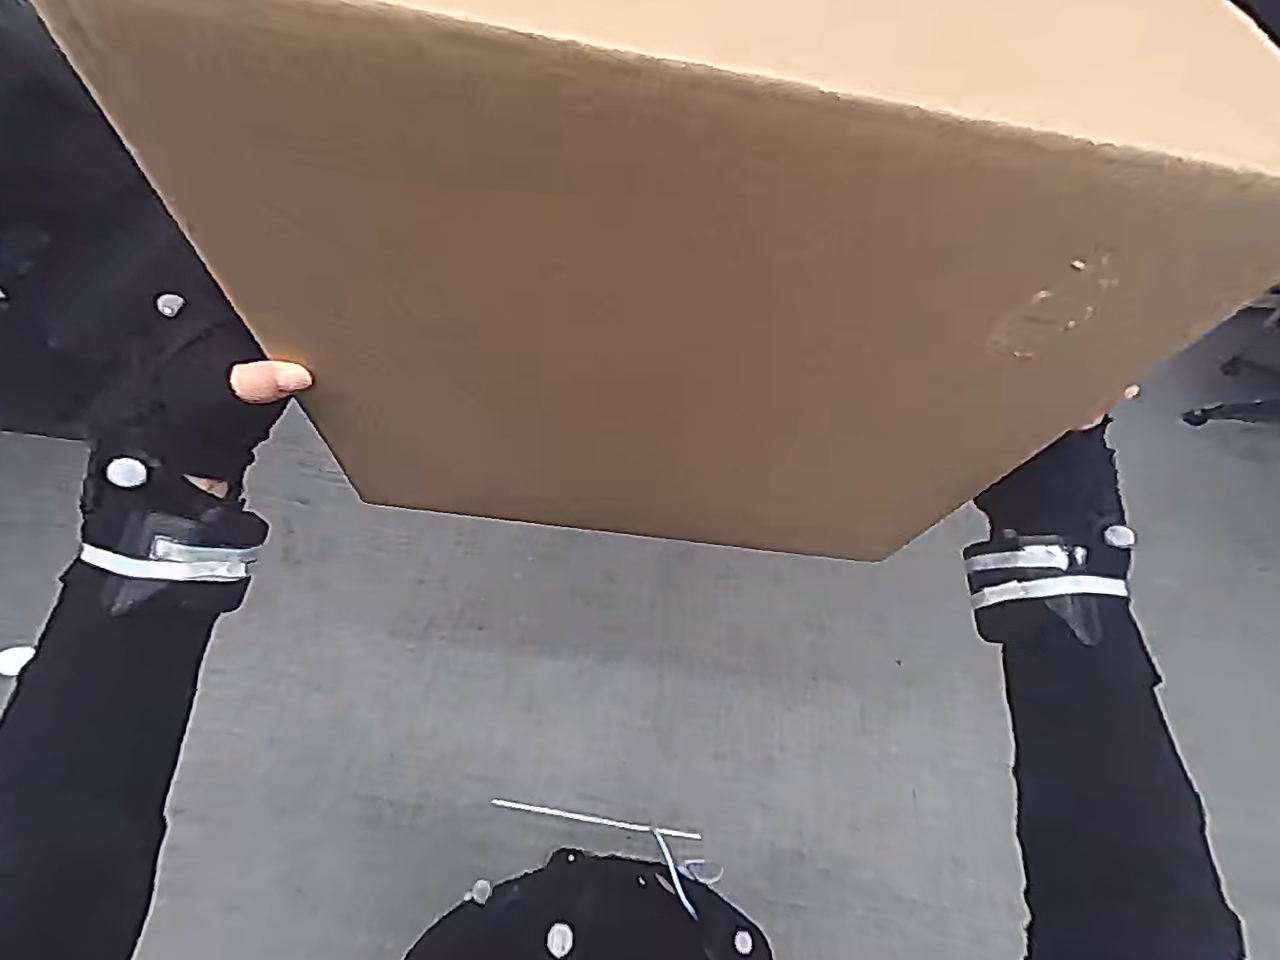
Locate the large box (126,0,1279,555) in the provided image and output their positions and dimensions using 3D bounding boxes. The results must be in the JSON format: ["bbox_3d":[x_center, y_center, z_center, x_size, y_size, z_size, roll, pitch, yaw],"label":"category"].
[{"bbox_3d":[0.034,-0.164,0.368,0.408,0.320,0.320,8,60,-5],"label":"large box"}]
